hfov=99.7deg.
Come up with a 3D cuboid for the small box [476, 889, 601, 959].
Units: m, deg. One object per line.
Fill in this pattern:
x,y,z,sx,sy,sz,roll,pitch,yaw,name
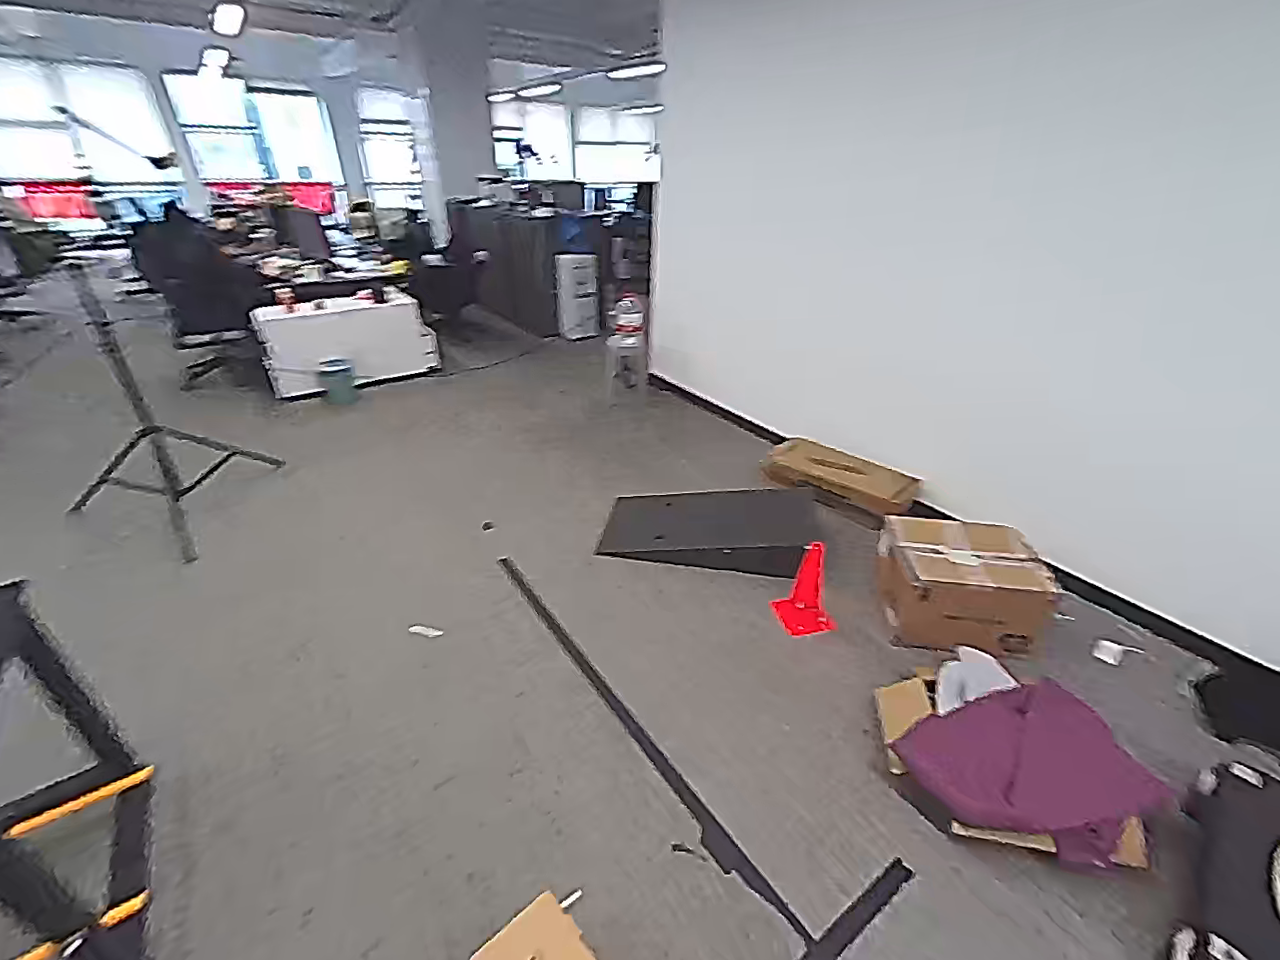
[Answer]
-0.180,0.930,1.001,0.179,0.176,0.168,-25,38,-35,small box
